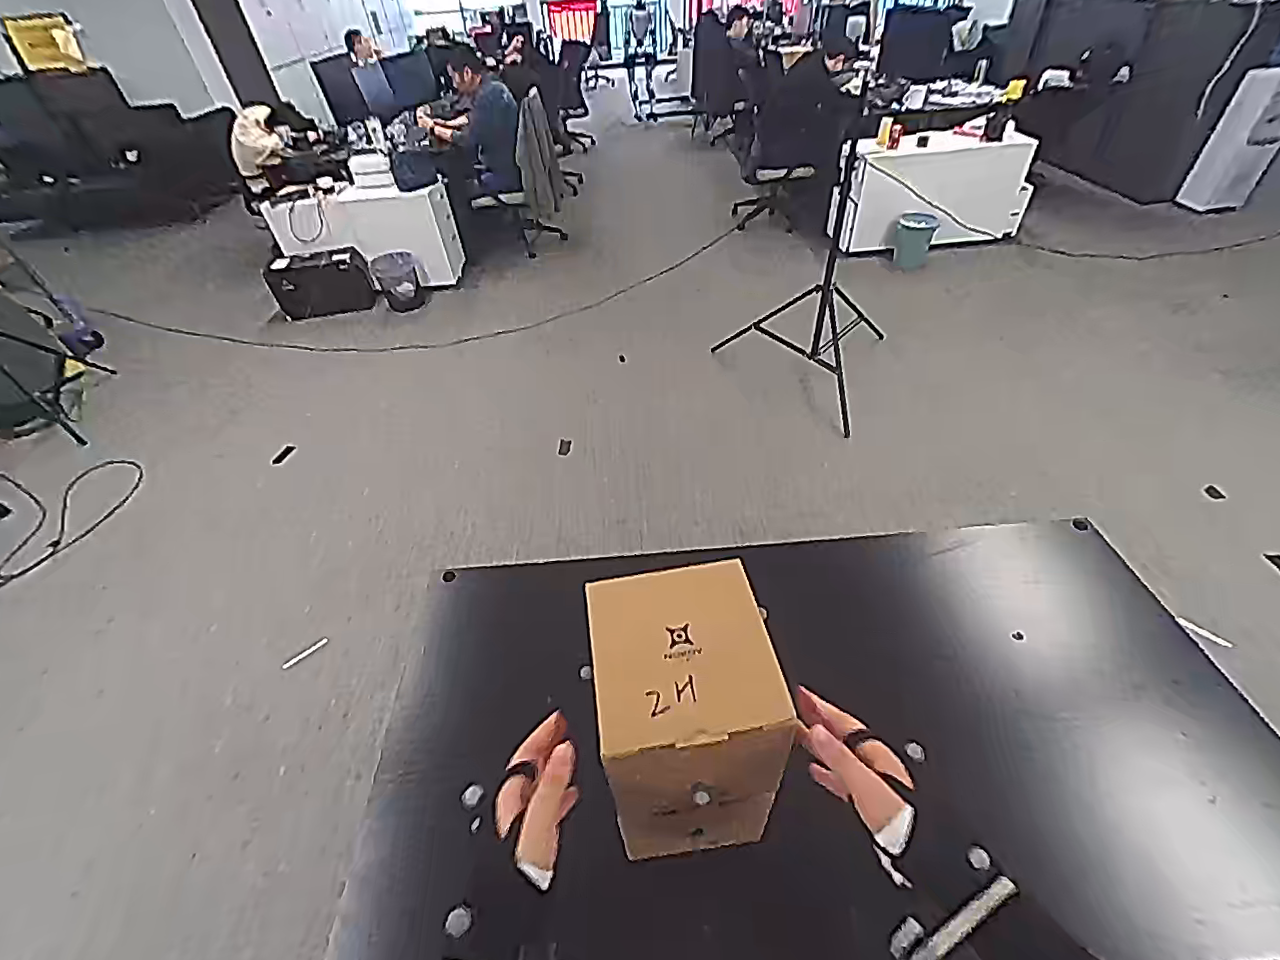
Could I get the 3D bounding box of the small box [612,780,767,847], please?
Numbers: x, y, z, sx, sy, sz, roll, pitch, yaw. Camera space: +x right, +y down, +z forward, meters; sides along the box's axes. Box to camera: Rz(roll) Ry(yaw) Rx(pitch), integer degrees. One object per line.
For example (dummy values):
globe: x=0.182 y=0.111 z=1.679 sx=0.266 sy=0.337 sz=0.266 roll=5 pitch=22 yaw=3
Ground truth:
small box: x=0.052 y=0.335 z=0.674 sx=0.168 sy=0.176 sz=0.179 roll=-8 pitch=44 yaw=-2

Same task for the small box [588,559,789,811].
small box: x=0.040 y=0.211 z=0.563 sx=0.168 sy=0.176 sz=0.179 roll=-9 pitch=42 yaw=-3
